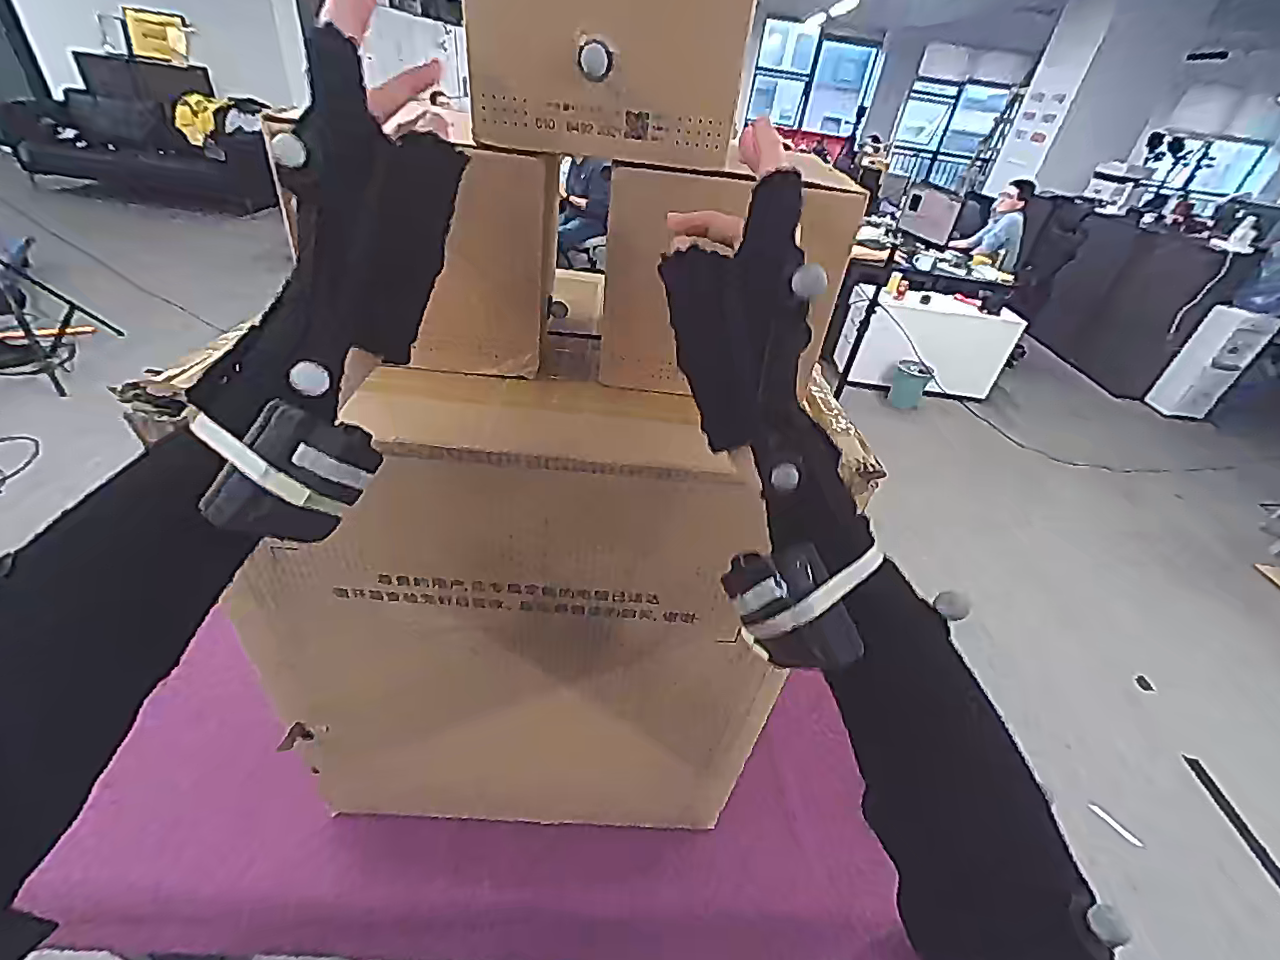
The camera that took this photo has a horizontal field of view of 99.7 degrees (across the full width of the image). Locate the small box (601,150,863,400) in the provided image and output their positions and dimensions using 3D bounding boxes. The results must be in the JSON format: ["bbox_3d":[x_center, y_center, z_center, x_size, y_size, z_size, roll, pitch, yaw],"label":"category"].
[{"bbox_3d":[0.063,-0.184,0.478,0.179,0.176,0.168,5,36,-2],"label":"small box"}]

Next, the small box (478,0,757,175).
[{"bbox_3d":[-0.014,-0.326,0.375,0.168,0.176,0.179,4,38,-3],"label":"small box"}]
